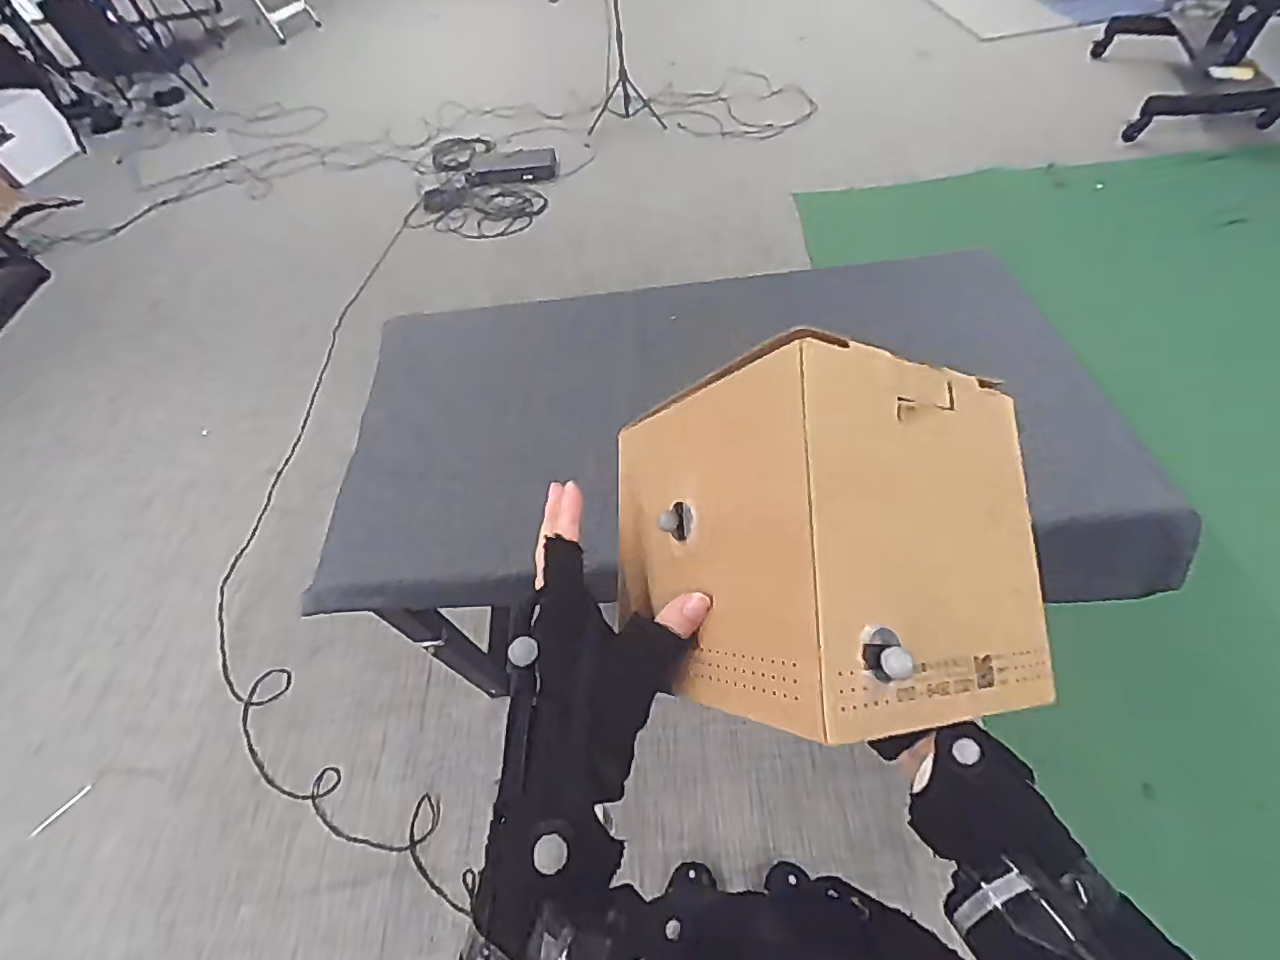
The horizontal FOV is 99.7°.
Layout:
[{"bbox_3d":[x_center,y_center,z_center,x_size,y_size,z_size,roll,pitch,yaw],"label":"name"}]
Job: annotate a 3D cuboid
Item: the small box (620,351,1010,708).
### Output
[{"bbox_3d":[0.098,0.041,0.344,0.168,0.179,0.176,6,77,-28],"label":"small box"}]
